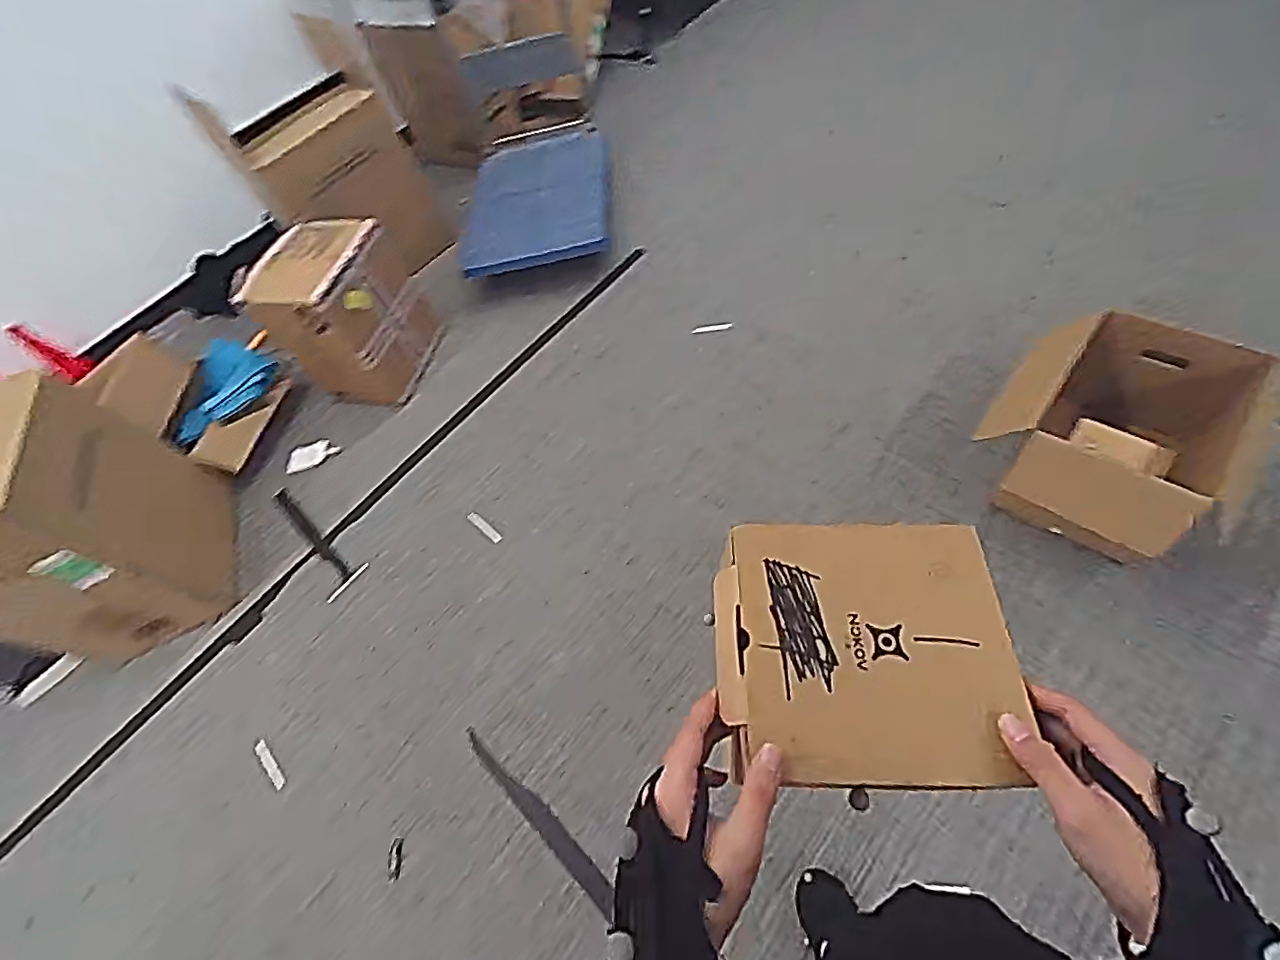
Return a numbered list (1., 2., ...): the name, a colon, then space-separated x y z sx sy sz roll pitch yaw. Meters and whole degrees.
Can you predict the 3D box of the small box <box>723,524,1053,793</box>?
1. small box: 0.158 0.145 0.422 0.179 0.176 0.168 2 61 2
